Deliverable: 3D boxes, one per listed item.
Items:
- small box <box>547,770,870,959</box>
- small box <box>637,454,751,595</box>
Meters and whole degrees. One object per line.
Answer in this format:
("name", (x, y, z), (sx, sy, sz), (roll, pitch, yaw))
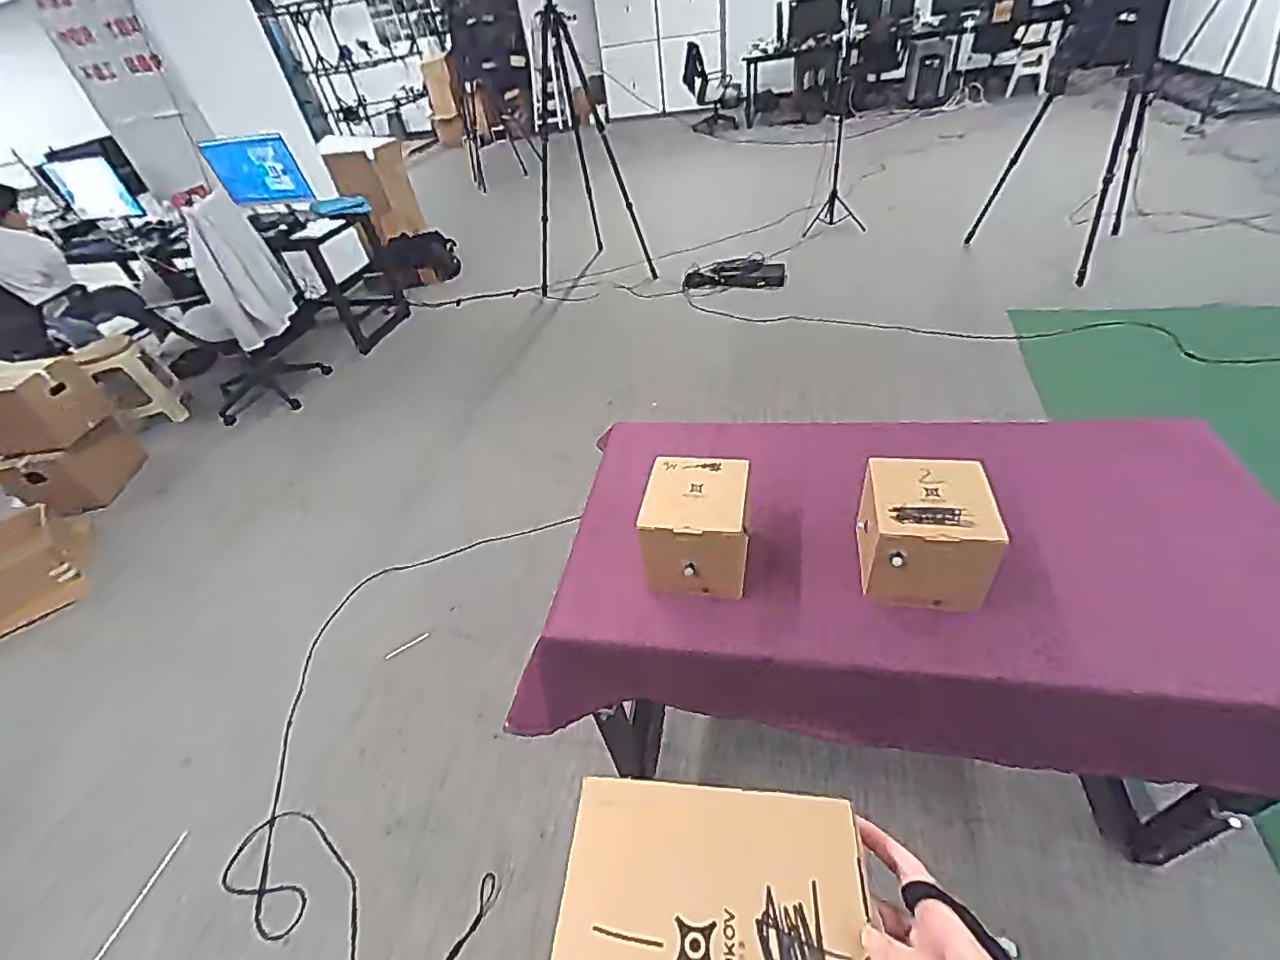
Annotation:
("small box", (0.043, 0.315, 0.349), (0.179, 0.176, 0.168), (1, 42, 10))
("small box", (0.103, 0.077, 0.937), (0.168, 0.176, 0.179), (4, 44, 14))
